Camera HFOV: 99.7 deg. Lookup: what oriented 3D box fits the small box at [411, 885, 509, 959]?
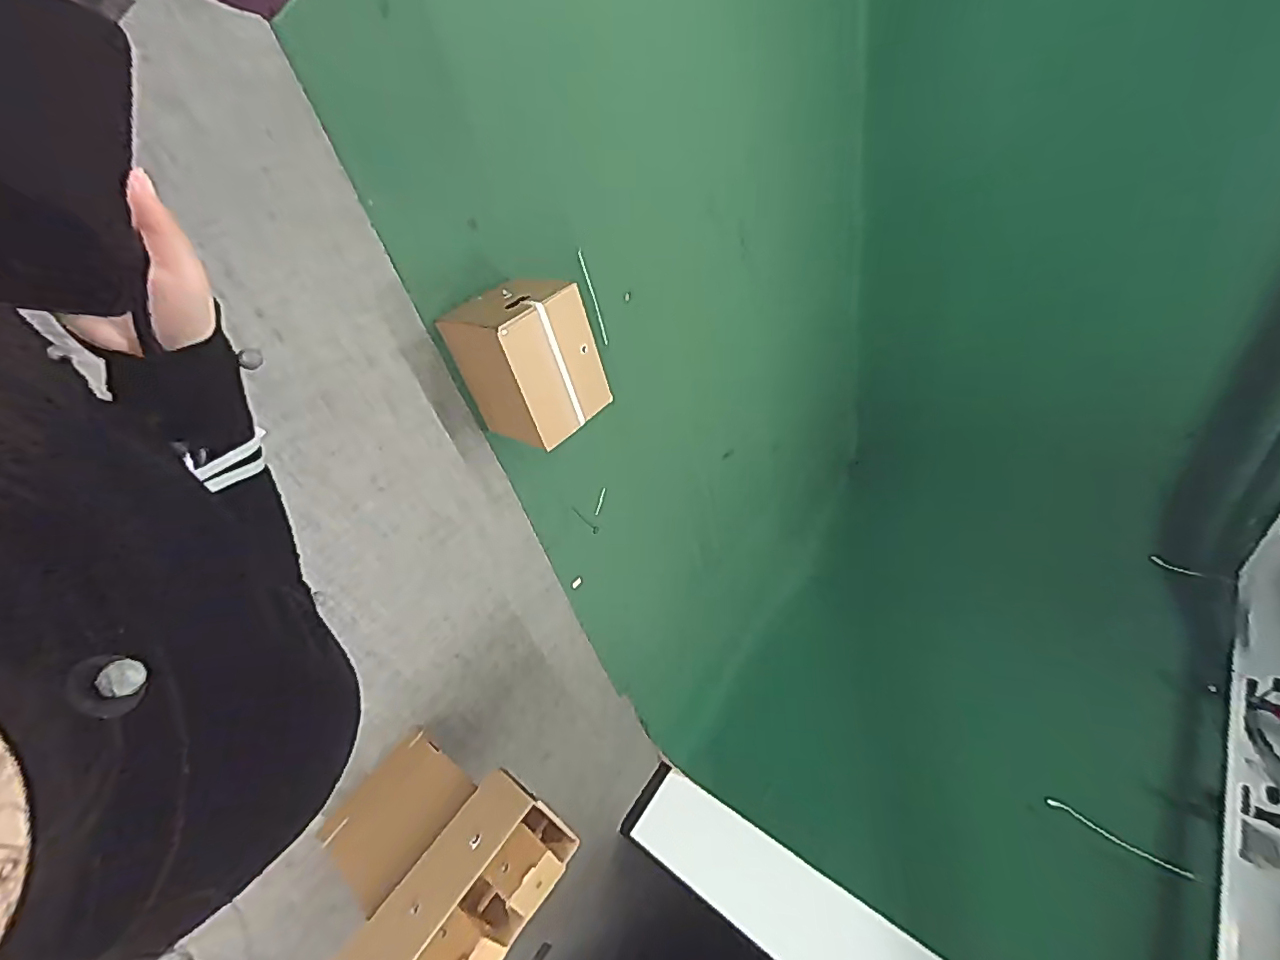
[{"bbox_3d":[-0.519,1.319,1.559,0.168,0.176,0.179,-47,136,-29],"label":"small box"}]
